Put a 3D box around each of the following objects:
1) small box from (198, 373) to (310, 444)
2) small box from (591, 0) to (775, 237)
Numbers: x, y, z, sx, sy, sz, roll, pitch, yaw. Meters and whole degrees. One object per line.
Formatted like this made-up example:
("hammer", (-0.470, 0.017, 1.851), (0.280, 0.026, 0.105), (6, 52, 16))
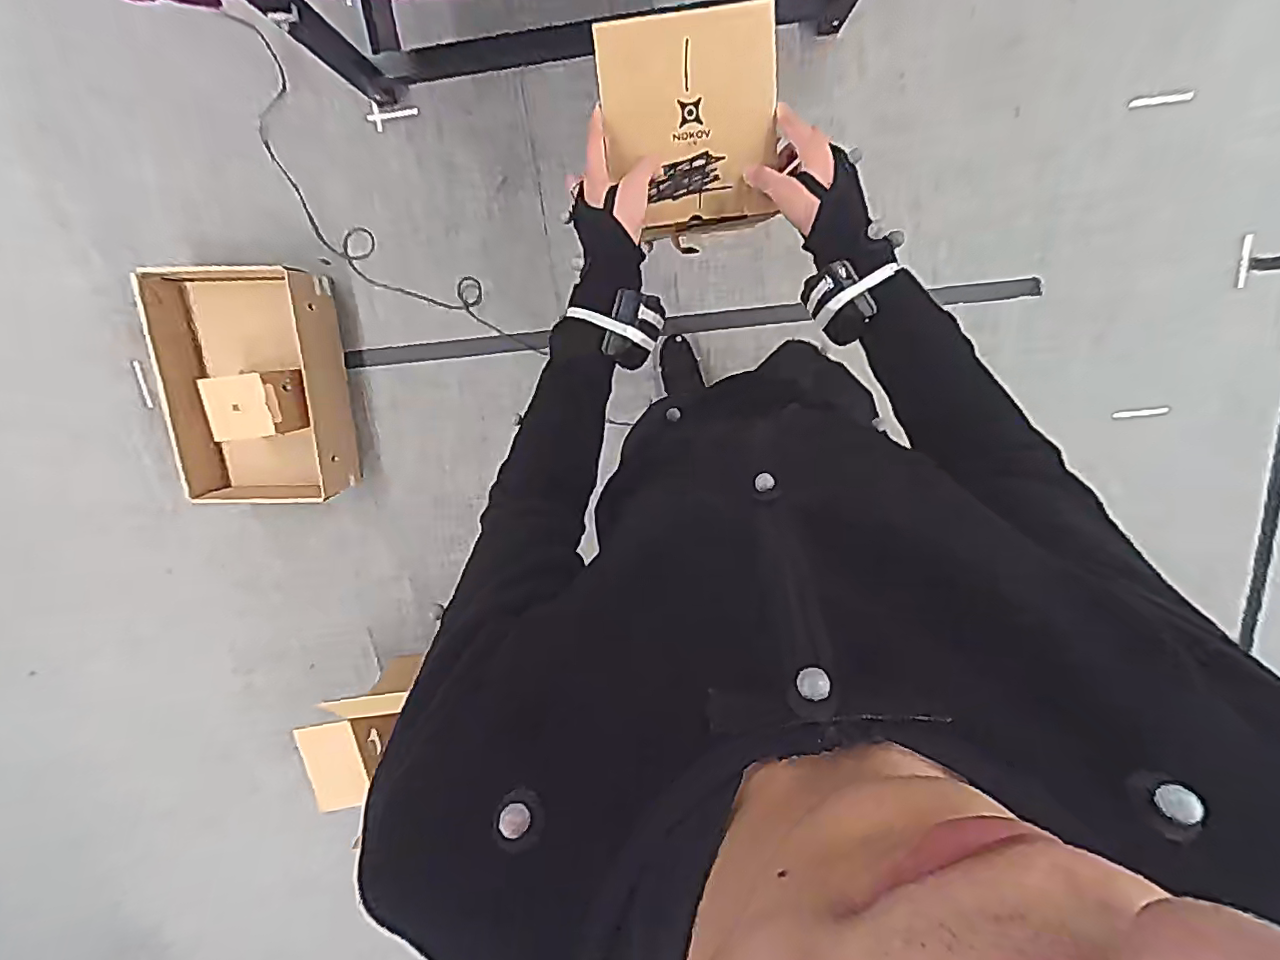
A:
("small box", (-1.040, -0.201, 1.480), (0.179, 0.176, 0.168), (-6, 103, 3))
("small box", (0.047, -0.365, 0.583), (0.168, 0.176, 0.179), (-6, 109, 3))
